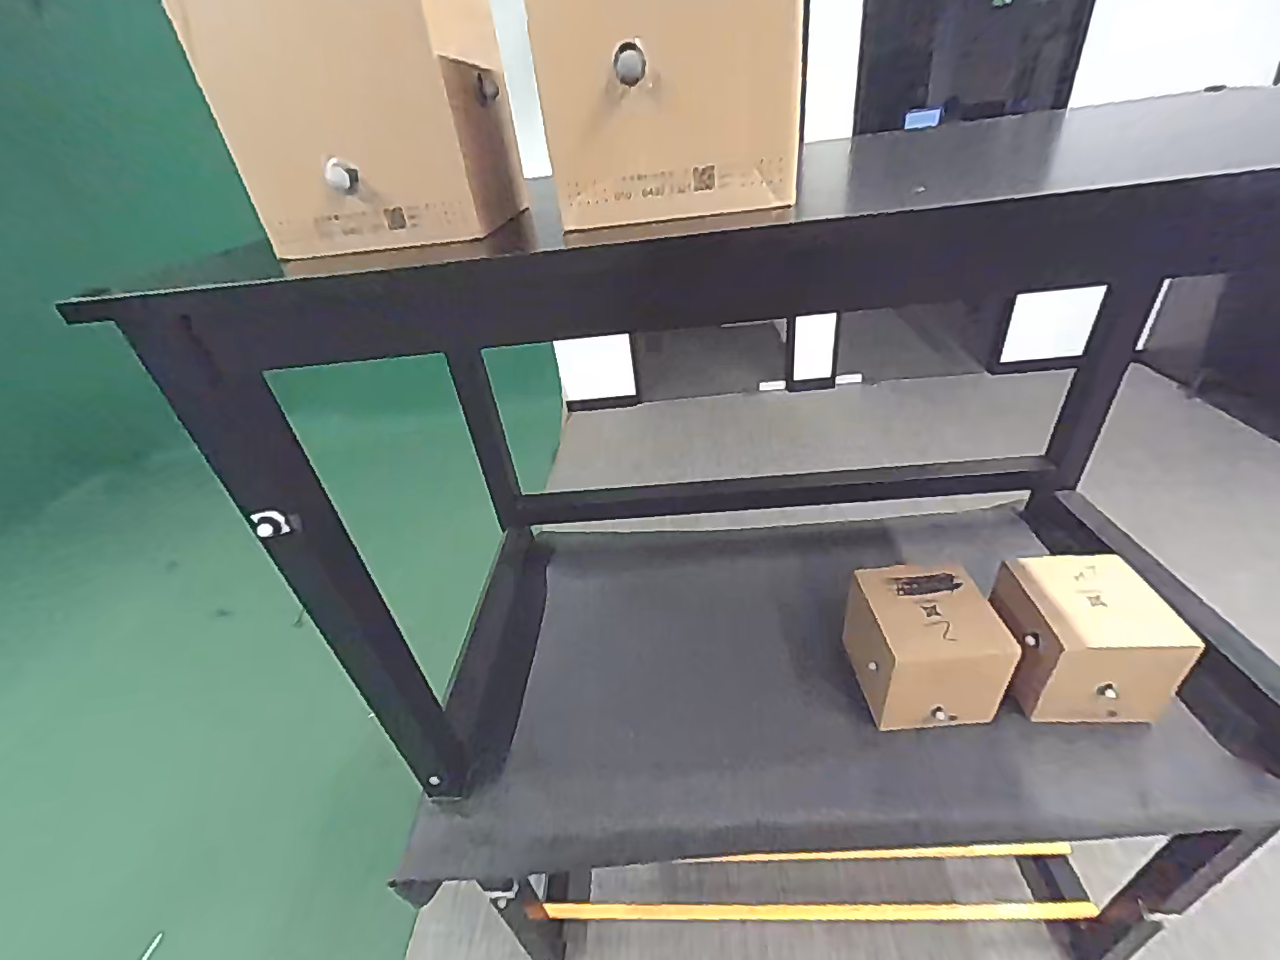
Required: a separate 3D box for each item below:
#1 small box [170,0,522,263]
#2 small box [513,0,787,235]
[{"bbox_3d":[-0.205,-0.286,0.444,0.168,0.176,0.179,-4,35,6],"label":"small box"},{"bbox_3d":[0.018,-0.293,0.412,0.168,0.176,0.179,-4,33,6],"label":"small box"}]
